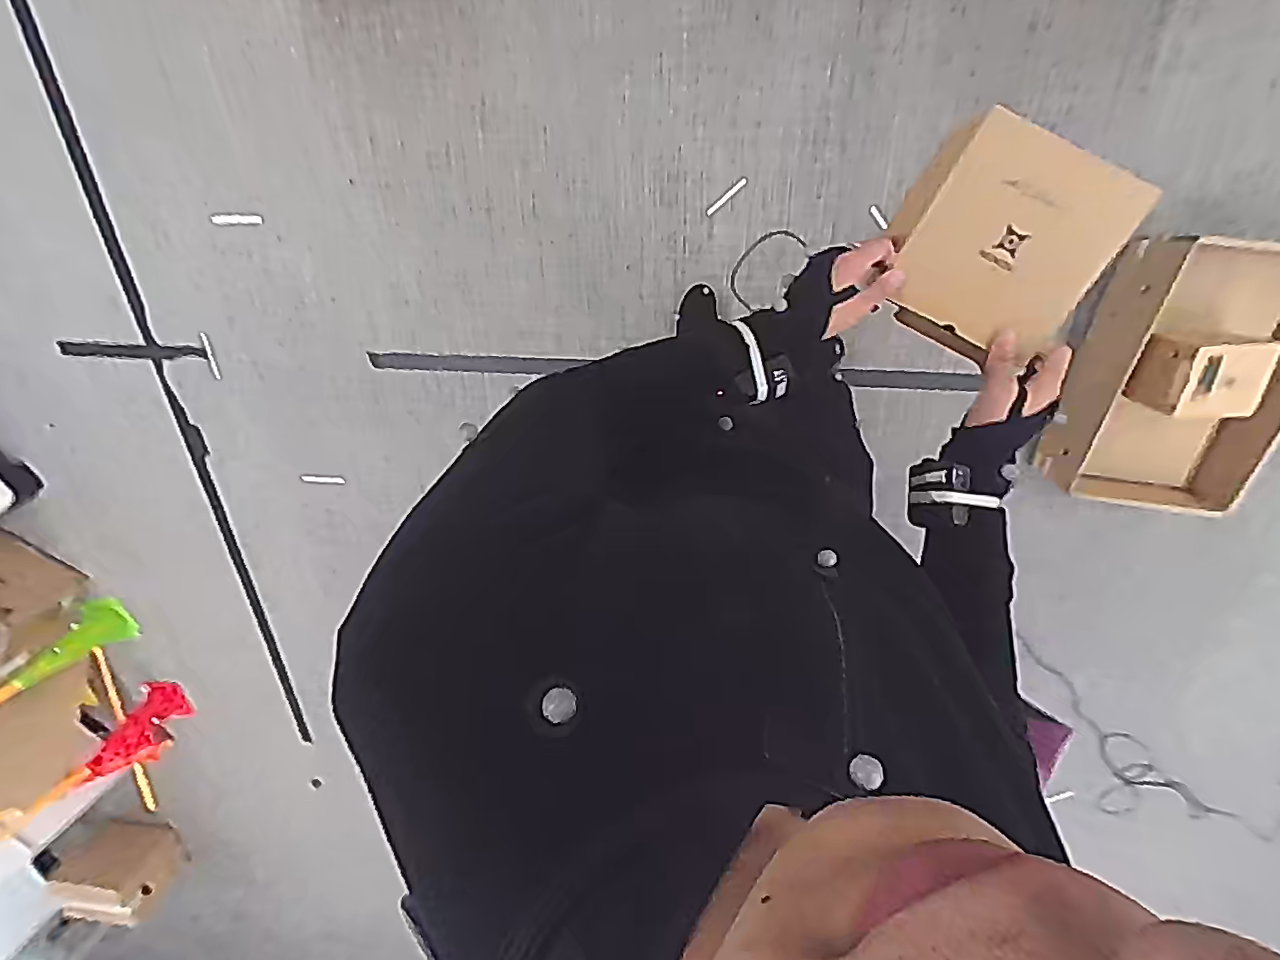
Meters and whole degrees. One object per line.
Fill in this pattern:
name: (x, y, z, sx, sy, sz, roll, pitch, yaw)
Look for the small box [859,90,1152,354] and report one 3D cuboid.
small box: (0.352, -0.264, 0.570, 0.168, 0.176, 0.179, 28, 120, 1)
